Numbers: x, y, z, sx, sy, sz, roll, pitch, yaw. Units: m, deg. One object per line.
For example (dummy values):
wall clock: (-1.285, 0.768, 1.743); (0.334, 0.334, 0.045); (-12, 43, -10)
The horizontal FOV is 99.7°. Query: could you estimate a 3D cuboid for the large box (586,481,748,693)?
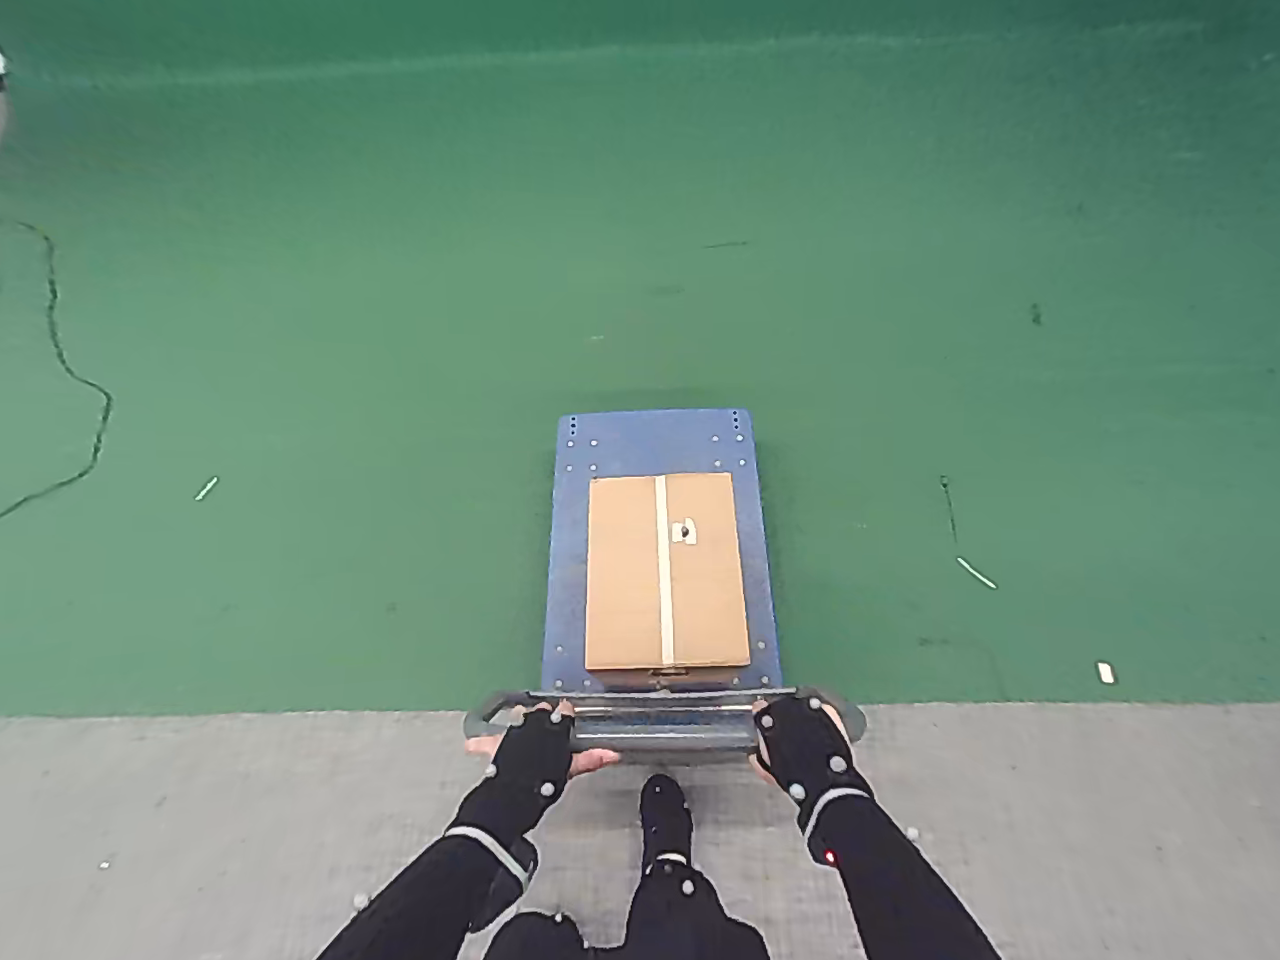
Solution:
large box: (0.055, 0.255, 1.242); (0.320, 0.320, 0.408); (-2, 63, 2)
